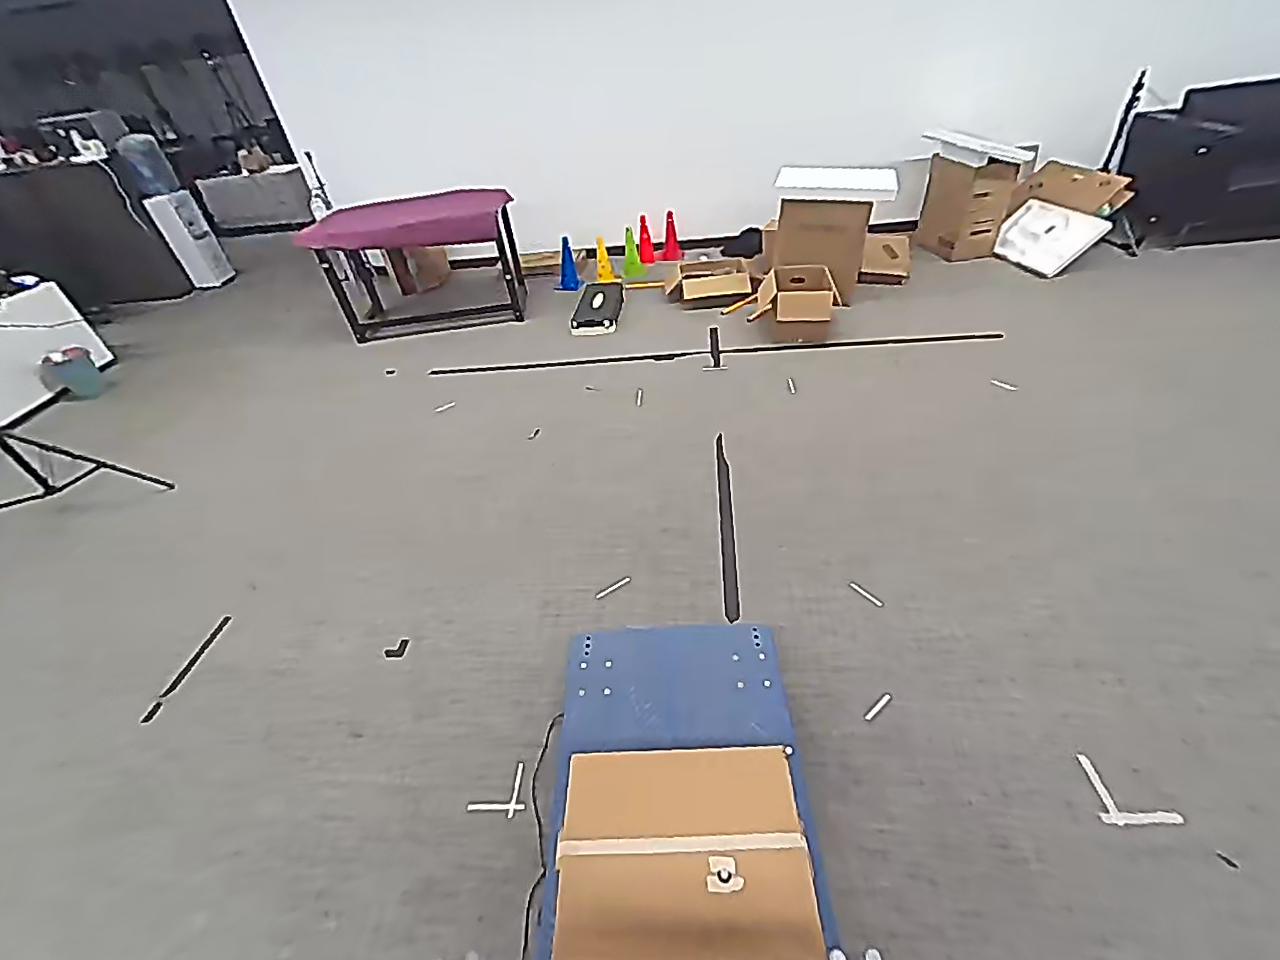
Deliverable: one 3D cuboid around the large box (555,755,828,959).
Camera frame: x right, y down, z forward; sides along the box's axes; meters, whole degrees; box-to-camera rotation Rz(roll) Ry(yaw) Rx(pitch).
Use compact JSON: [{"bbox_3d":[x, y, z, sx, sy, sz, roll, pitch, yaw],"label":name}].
[{"bbox_3d":[0.080,0.732,0.977,0.408,0.320,0.320,-4,40,3],"label":"large box"}]
